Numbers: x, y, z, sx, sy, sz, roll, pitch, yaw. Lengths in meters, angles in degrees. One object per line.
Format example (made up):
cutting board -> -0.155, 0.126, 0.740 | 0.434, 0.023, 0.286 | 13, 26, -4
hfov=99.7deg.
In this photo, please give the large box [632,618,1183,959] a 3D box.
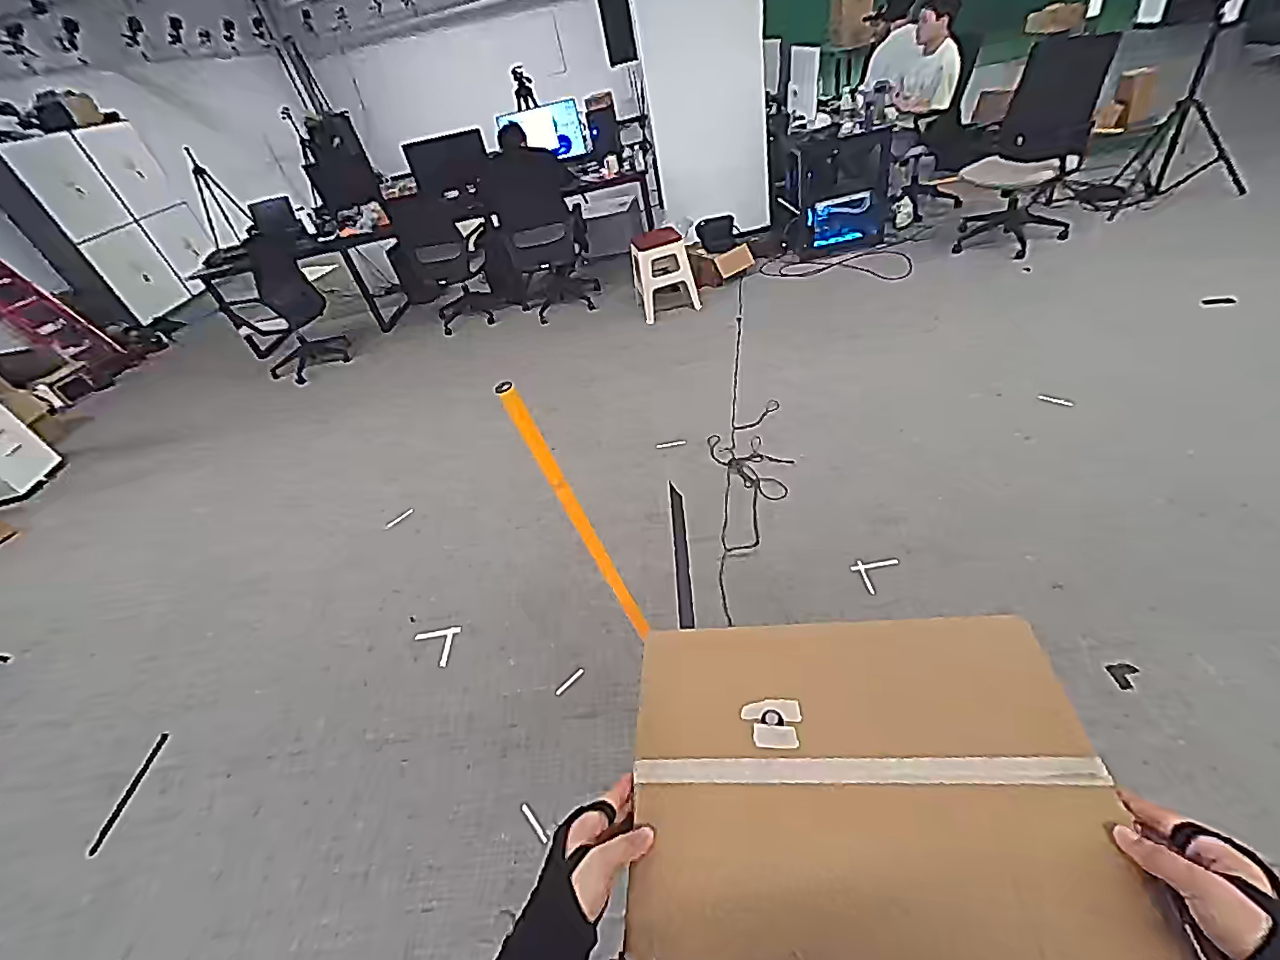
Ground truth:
large box -> 0.227, 0.382, 0.603 | 0.408, 0.320, 0.320 | -6, 41, 11
